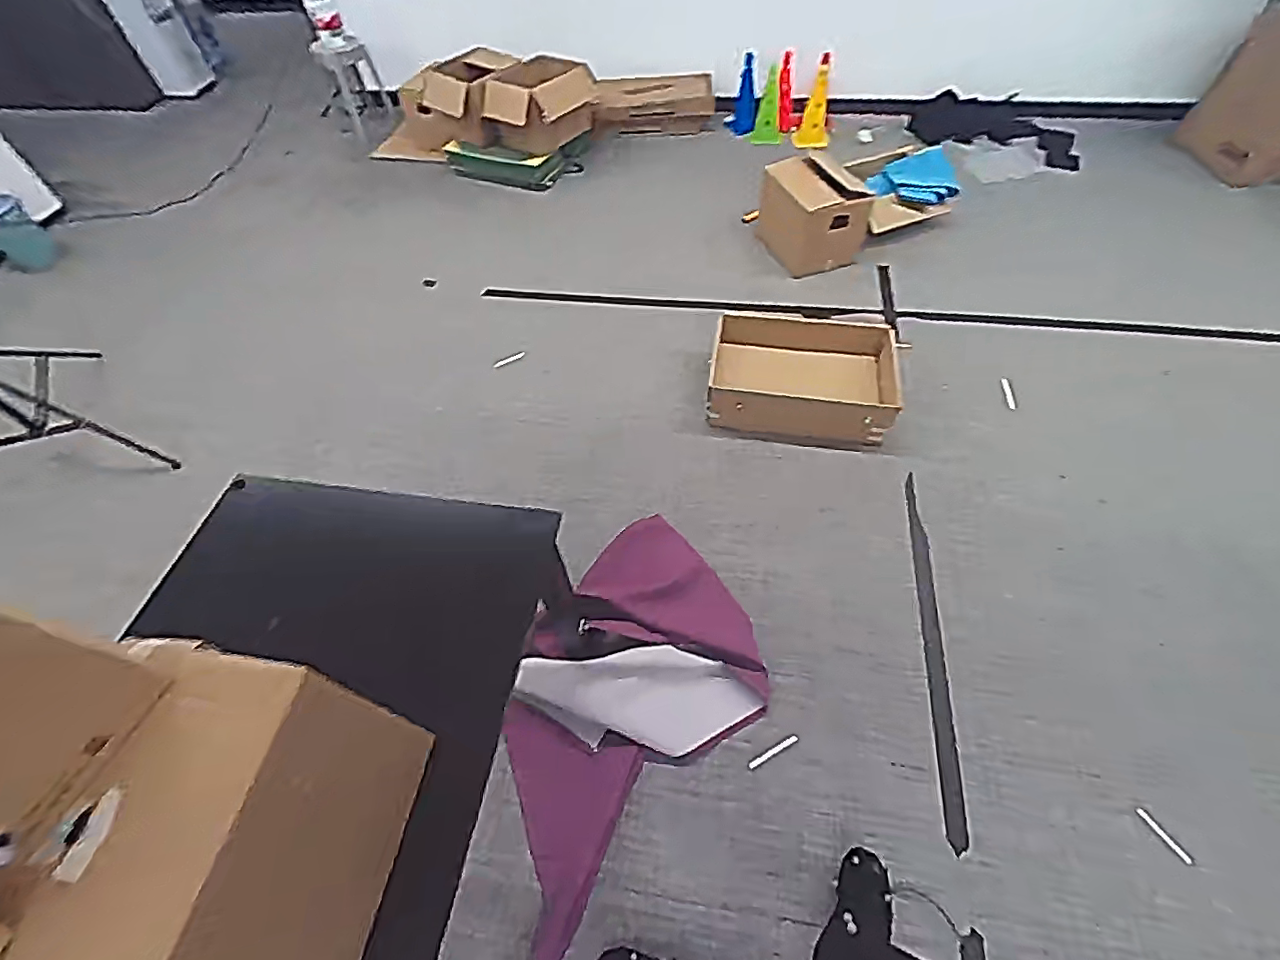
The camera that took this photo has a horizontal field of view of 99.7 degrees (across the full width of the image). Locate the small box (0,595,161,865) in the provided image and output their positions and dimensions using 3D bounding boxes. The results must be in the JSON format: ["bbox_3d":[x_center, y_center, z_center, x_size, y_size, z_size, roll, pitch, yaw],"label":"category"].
[{"bbox_3d":[-0.502,0.159,0.367,0.179,0.176,0.168,14,57,14],"label":"small box"}]

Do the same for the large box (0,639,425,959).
[{"bbox_3d":[-0.456,0.398,0.494,0.320,0.320,0.408,5,54,6],"label":"large box"}]
